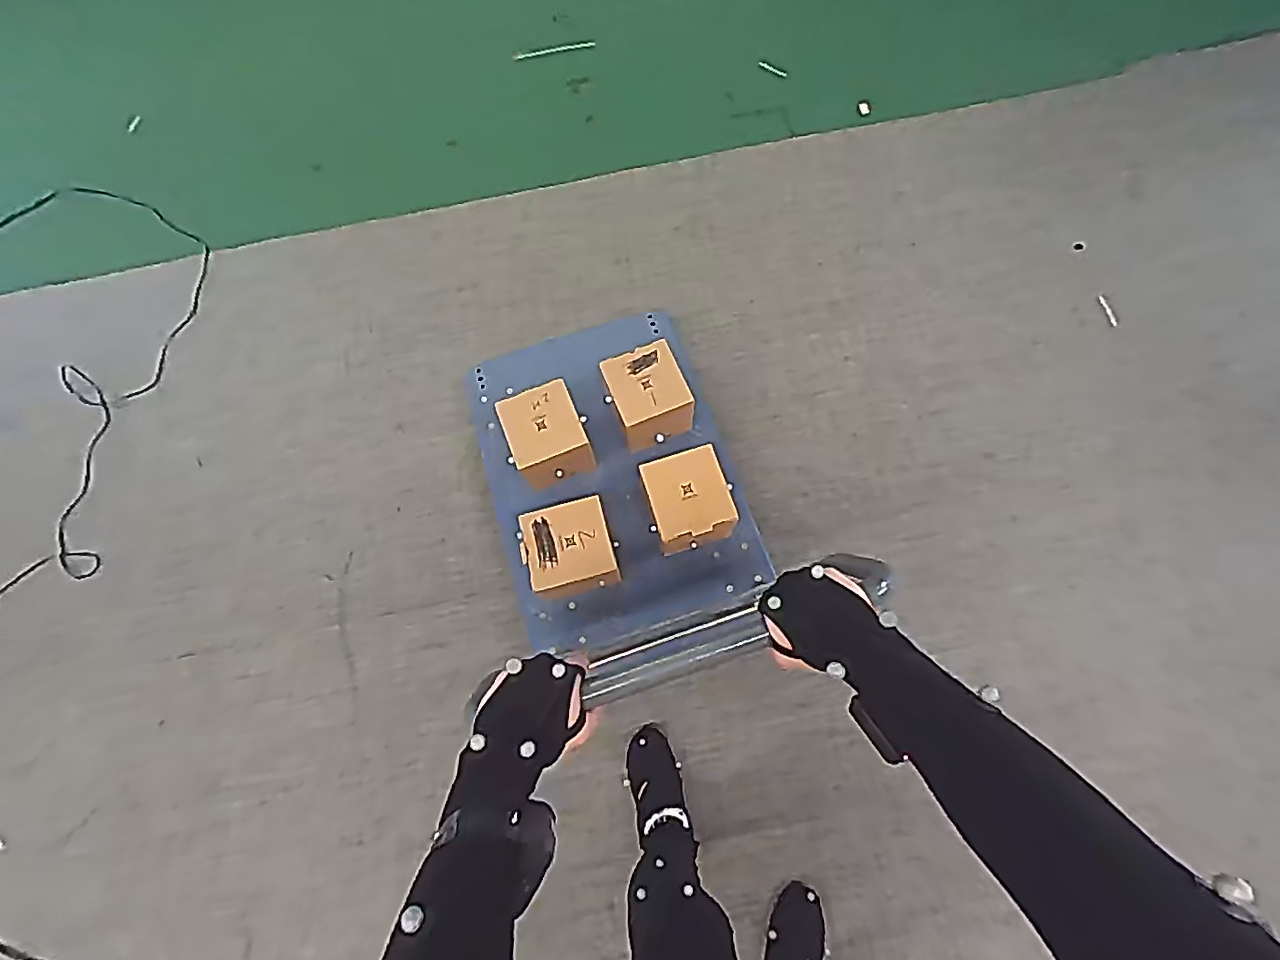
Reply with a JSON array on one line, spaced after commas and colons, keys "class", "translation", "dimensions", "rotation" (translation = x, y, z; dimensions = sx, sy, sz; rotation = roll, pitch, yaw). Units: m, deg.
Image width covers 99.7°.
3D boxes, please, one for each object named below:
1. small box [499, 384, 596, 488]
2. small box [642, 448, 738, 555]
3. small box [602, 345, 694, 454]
[{"class": "small box", "translation": [-0.213, -0.093, 1.289], "dimensions": [0.168, 0.176, 0.179], "rotation": [-22, 72, -5]}, {"class": "small box", "translation": [0.106, 0.054, 1.226], "dimensions": [0.168, 0.176, 0.179], "rotation": [-18, 72, -3]}, {"class": "small box", "translation": [0.019, -0.189, 1.308], "dimensions": [0.168, 0.176, 0.179], "rotation": [-22, 73, -4]}]
